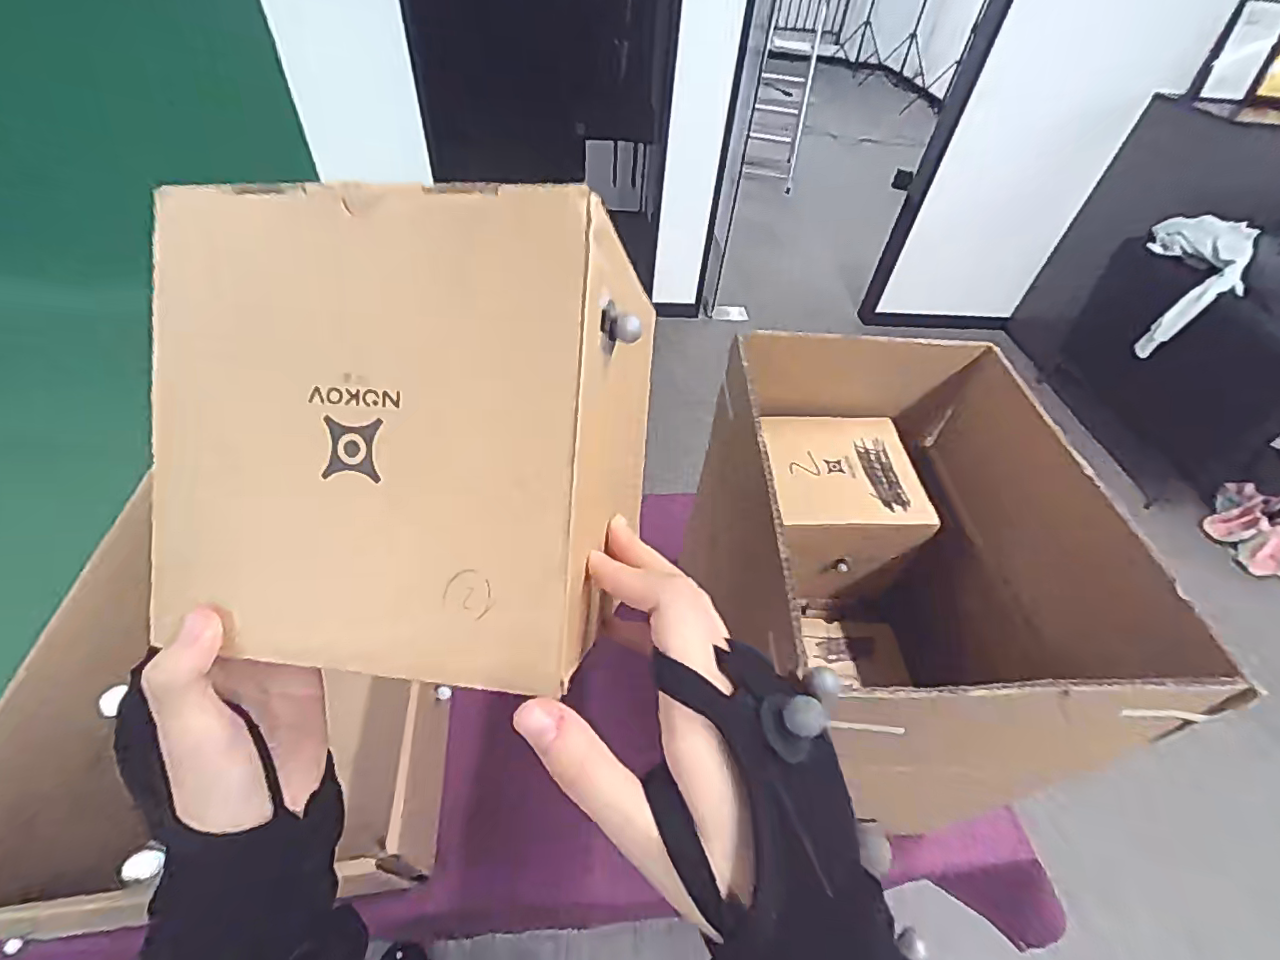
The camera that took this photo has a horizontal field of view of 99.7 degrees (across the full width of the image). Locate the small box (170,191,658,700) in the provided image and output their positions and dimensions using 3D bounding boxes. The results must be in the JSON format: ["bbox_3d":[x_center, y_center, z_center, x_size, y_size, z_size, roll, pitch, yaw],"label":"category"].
[{"bbox_3d":[-0.085,-0.020,0.274,0.168,0.179,0.176,4,4,9],"label":"small box"}]
